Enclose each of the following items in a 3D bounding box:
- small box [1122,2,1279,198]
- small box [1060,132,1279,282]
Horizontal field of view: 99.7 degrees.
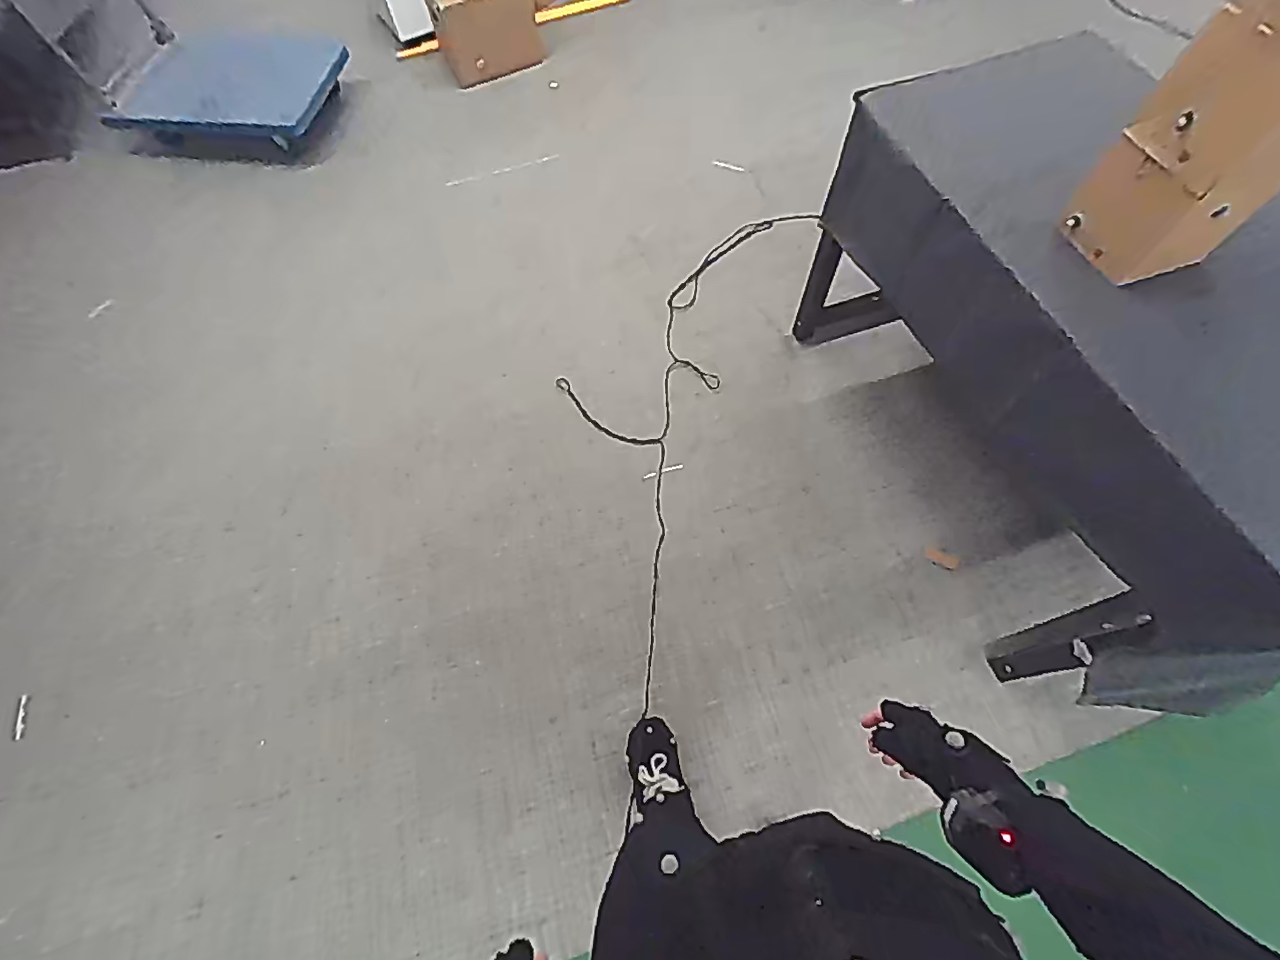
[{"bbox_3d":[0.831,-0.522,0.732,0.179,0.176,0.168,-18,65,-6],"label":"small box"},{"bbox_3d":[0.838,-0.452,0.878,0.179,0.176,0.168,-18,65,-7],"label":"small box"}]
